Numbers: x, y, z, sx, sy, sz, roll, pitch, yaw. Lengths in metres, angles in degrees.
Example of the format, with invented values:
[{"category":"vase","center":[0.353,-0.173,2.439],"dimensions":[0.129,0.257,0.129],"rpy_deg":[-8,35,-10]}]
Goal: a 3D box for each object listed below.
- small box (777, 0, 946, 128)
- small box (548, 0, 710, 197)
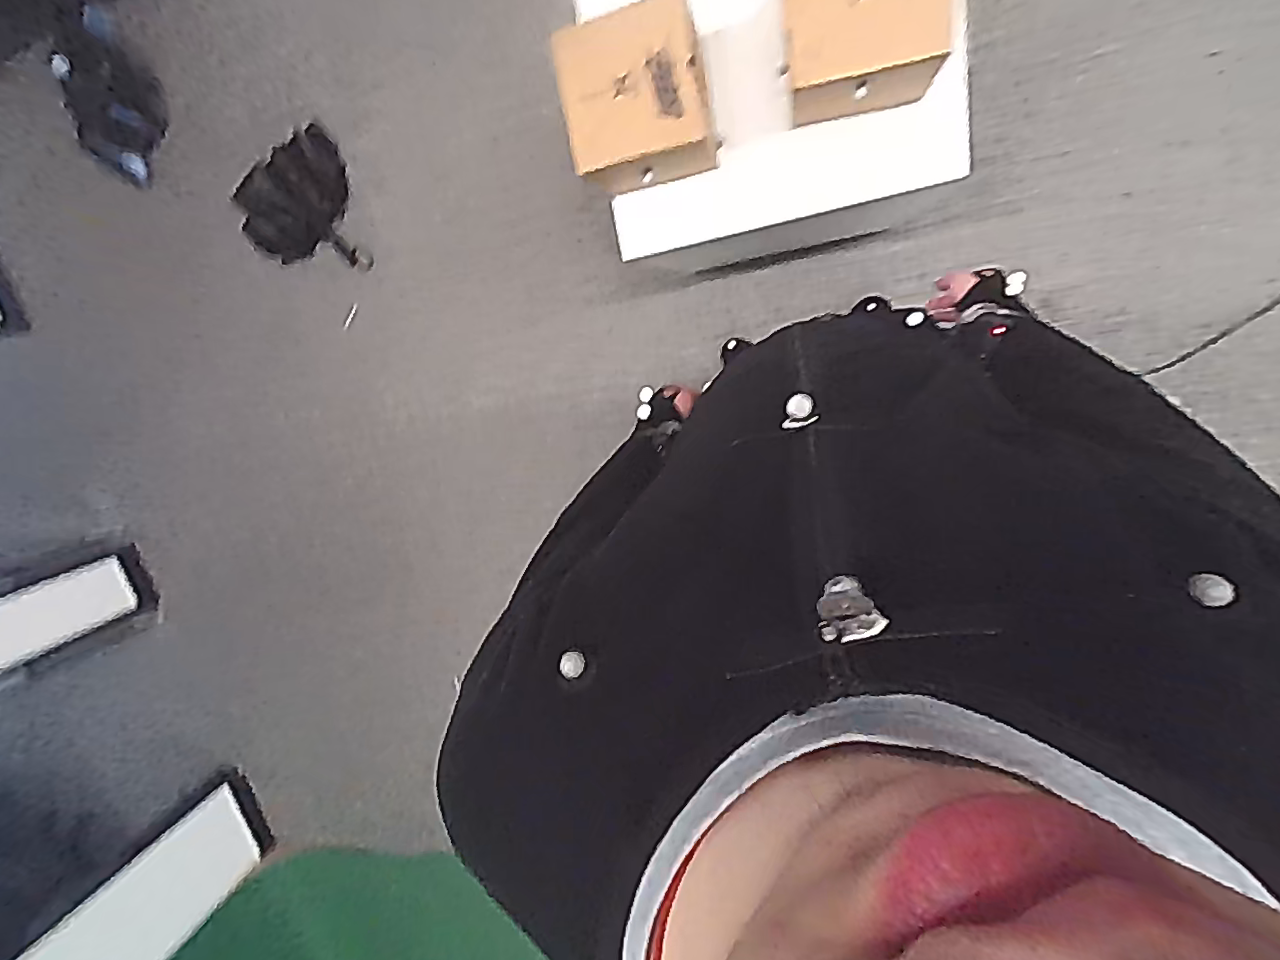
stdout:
[{"category":"small box","center":[0.262,-0.562,0.667],"dimensions":[0.179,0.176,0.168],"rpy_deg":[-3,108,16]},{"category":"small box","center":[-0.002,-0.515,0.754],"dimensions":[0.179,0.176,0.168],"rpy_deg":[-6,105,18]}]
